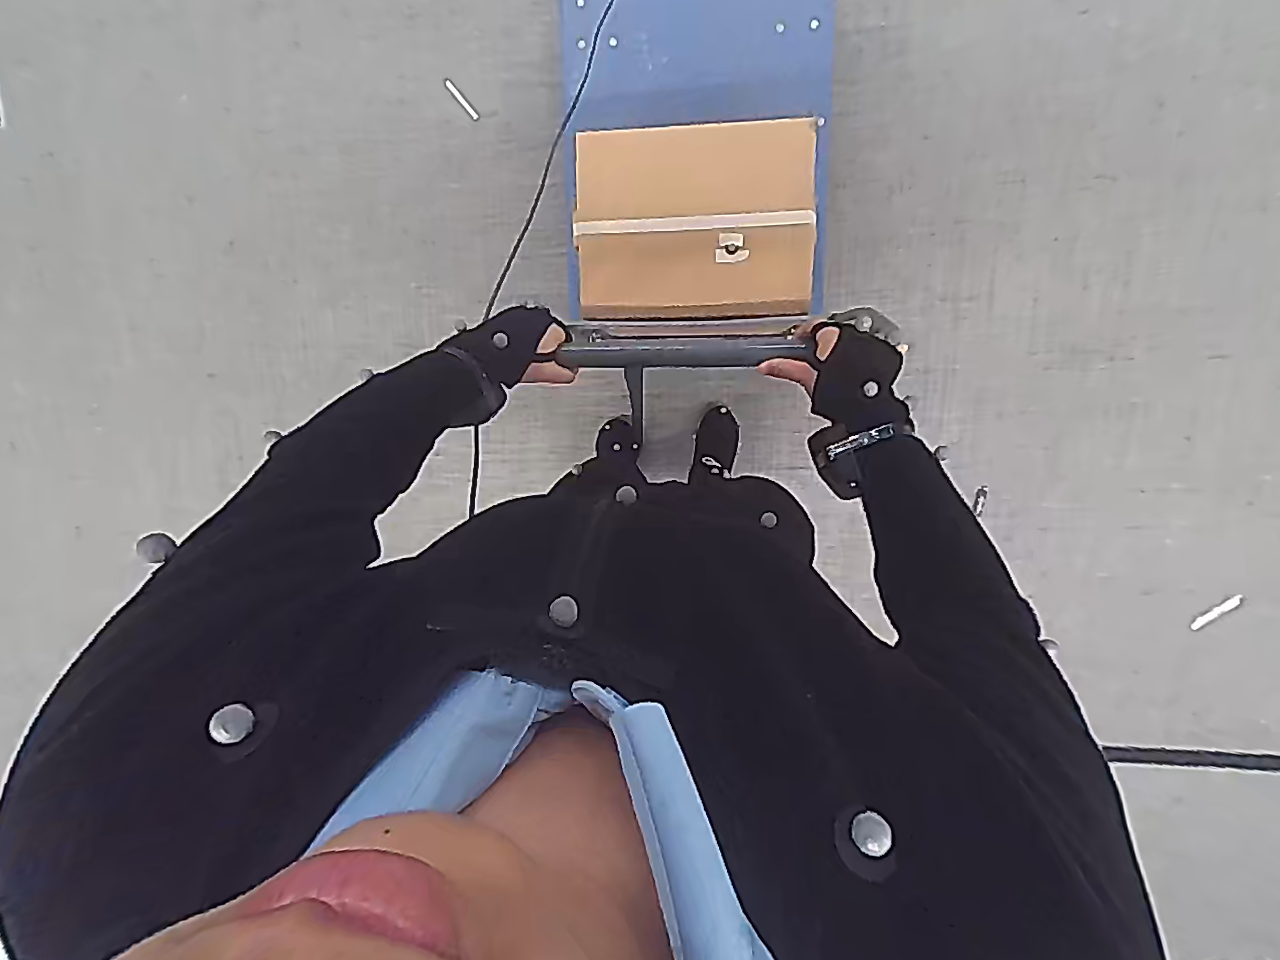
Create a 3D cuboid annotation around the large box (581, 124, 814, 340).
[{"bbox_3d":[0.111,-0.463,1.092,0.408,0.320,0.320,0,99,6],"label":"large box"}]
